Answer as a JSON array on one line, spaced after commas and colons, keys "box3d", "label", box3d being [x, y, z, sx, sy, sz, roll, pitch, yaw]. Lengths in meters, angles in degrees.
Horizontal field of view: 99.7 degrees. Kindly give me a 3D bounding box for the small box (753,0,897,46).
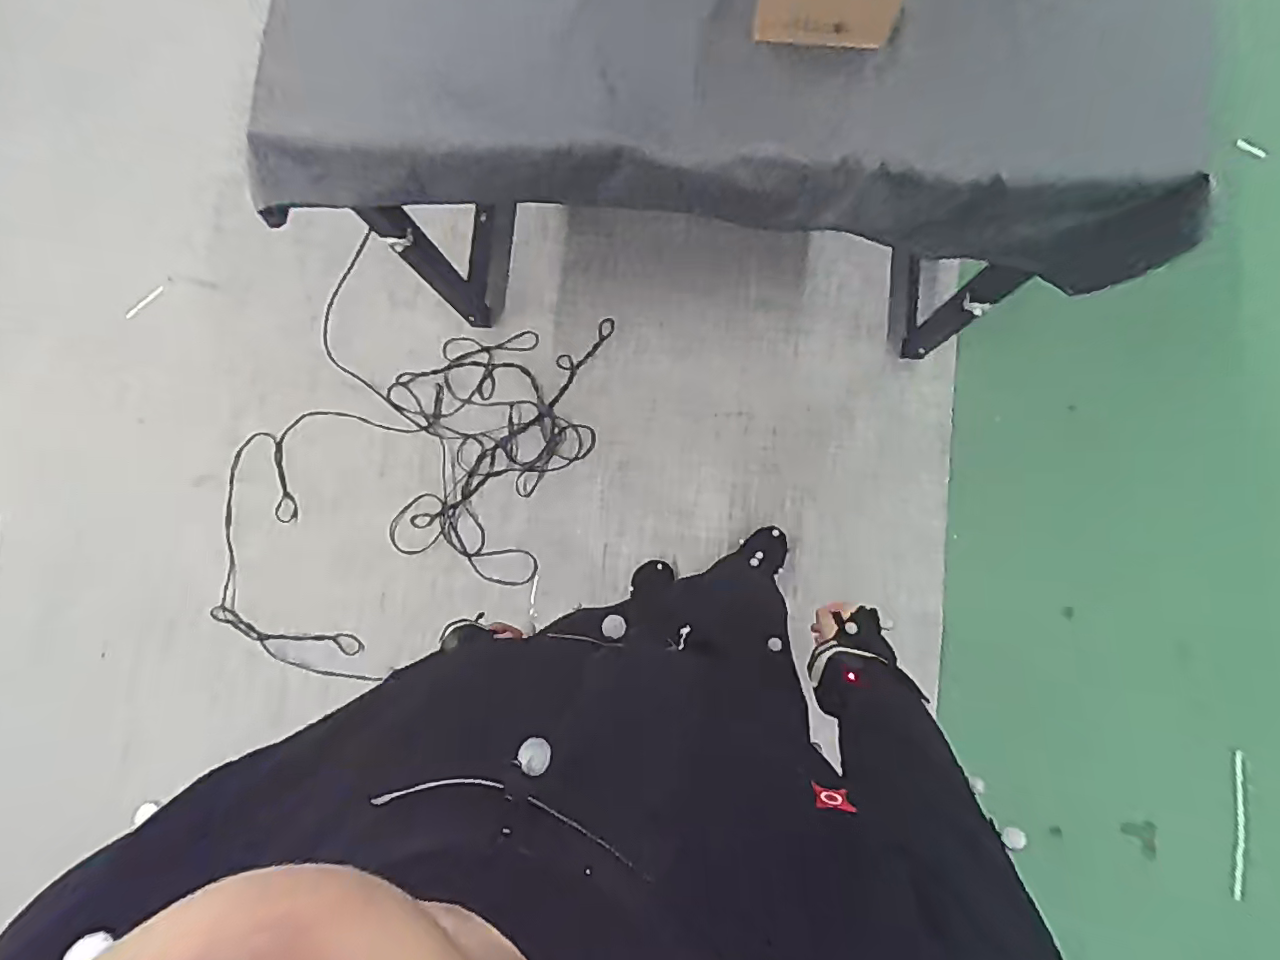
[{"box3d": [0.227, -0.642, 0.612, 0.168, 0.176, 0.179, 8, 84, 4], "label": "small box"}]
